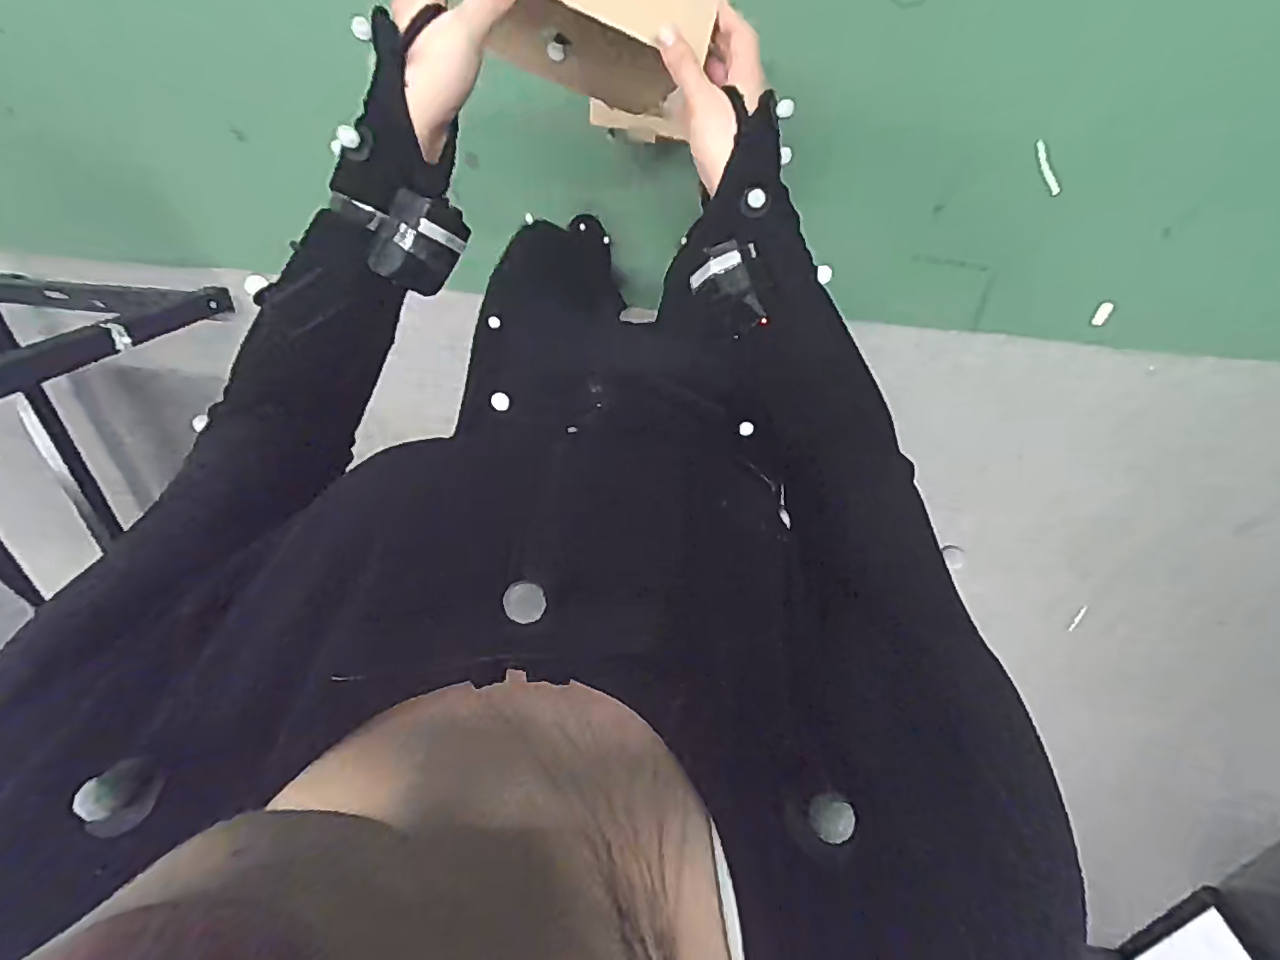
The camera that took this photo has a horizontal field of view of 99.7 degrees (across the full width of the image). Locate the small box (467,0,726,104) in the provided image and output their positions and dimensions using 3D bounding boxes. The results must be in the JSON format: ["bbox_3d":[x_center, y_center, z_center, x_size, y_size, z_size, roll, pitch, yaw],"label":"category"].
[{"bbox_3d":[-0.031,-0.420,0.410,0.179,0.176,0.168,9,109,-21],"label":"small box"}]

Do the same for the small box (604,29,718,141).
[{"bbox_3d":[0.037,-0.735,0.992,0.179,0.176,0.168,9,123,-1],"label":"small box"}]
